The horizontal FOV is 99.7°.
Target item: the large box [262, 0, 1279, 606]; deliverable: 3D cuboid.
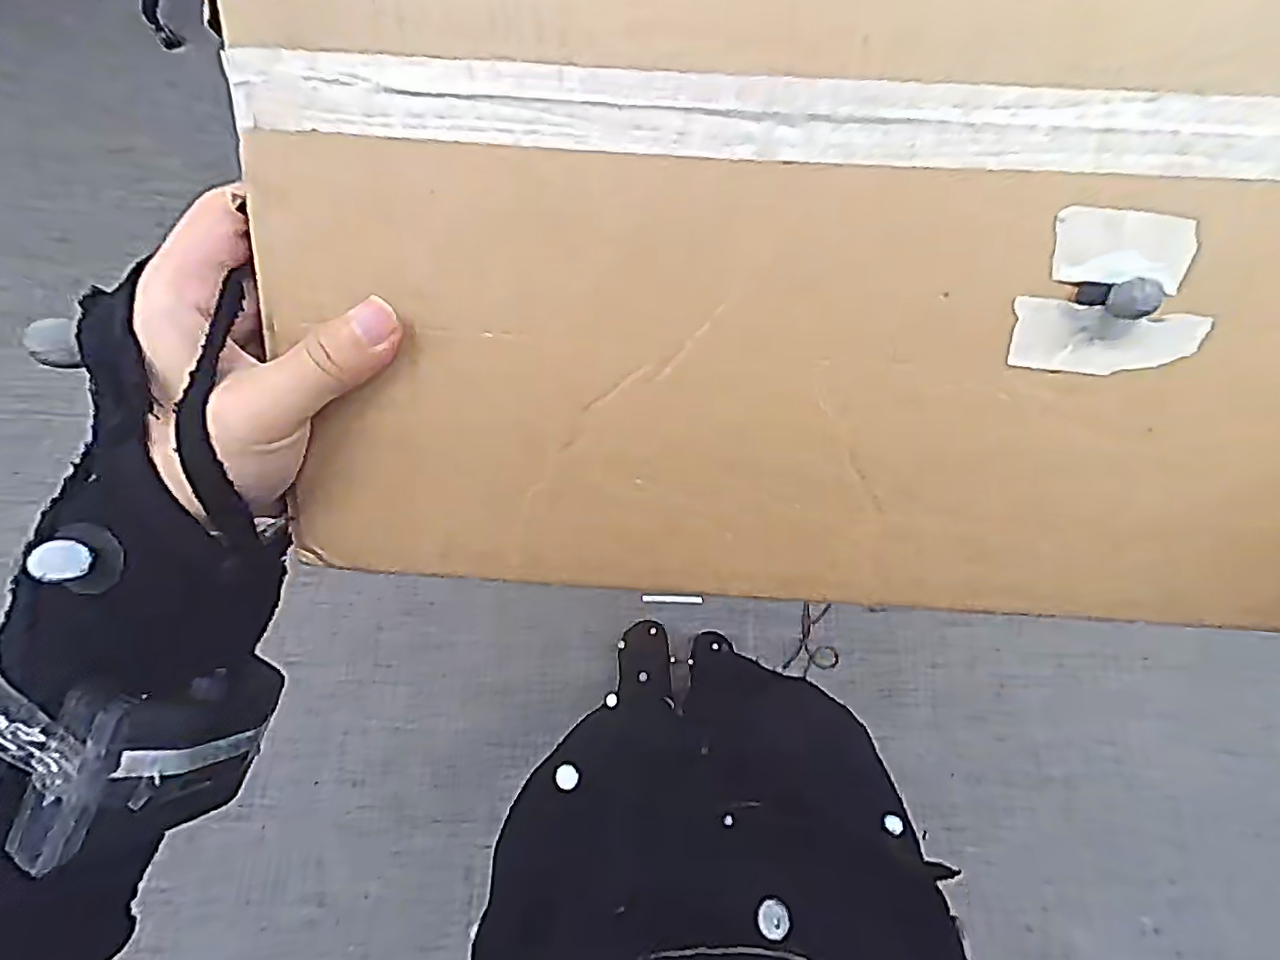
[{"bbox_3d":[0.082,-0.142,0.315,0.408,0.320,0.320,3,106,0],"label":"large box"}]
